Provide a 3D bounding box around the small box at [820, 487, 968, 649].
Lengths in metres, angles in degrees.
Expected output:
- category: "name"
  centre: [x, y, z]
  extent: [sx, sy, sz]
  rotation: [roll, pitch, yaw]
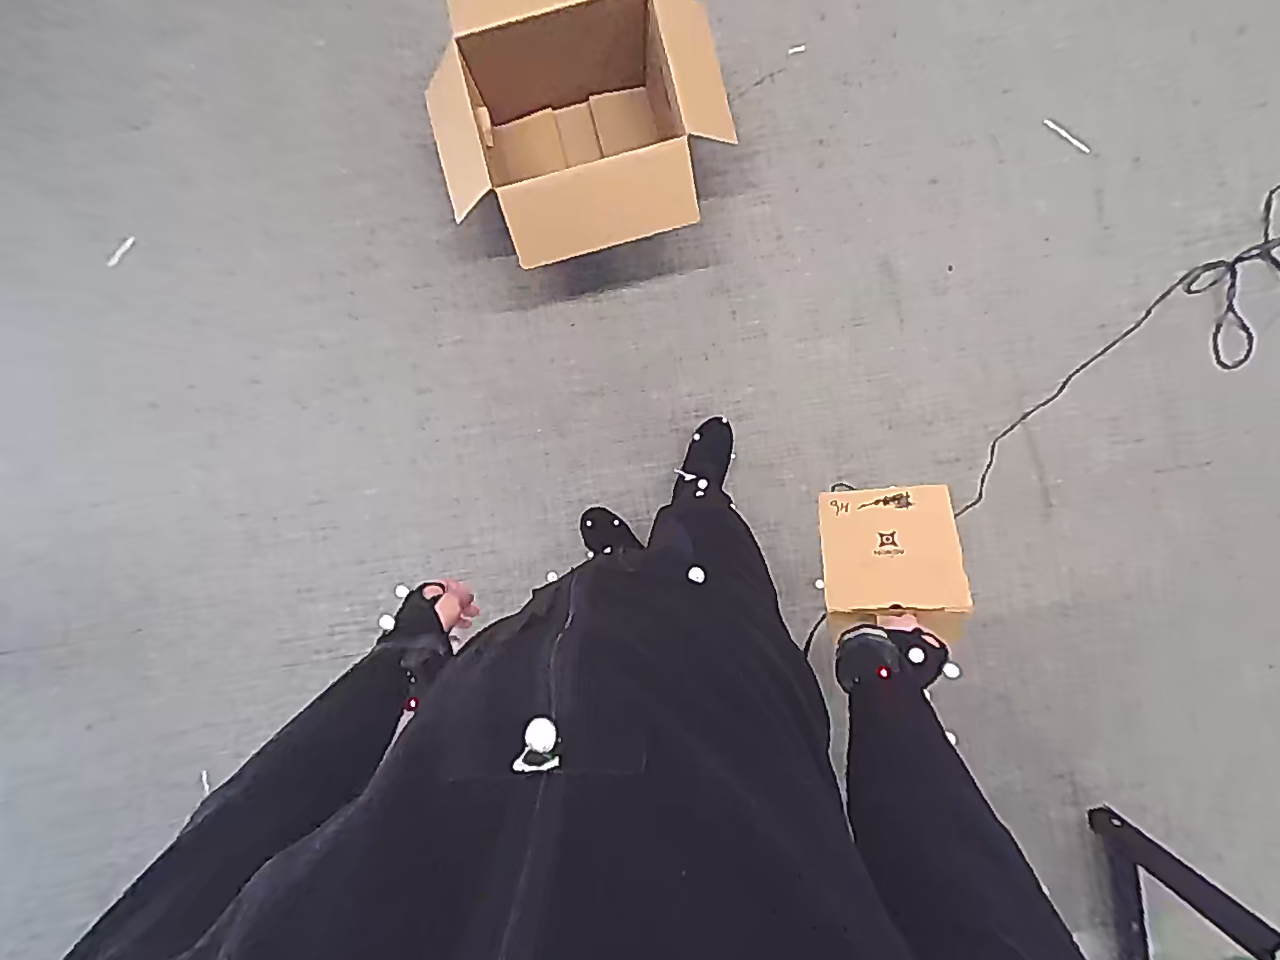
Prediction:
- category: "small box"
  centre: [0.348, 0.130, 0.764]
  extent: [0.168, 0.176, 0.179]
  rotation: [-4, 56, 20]
